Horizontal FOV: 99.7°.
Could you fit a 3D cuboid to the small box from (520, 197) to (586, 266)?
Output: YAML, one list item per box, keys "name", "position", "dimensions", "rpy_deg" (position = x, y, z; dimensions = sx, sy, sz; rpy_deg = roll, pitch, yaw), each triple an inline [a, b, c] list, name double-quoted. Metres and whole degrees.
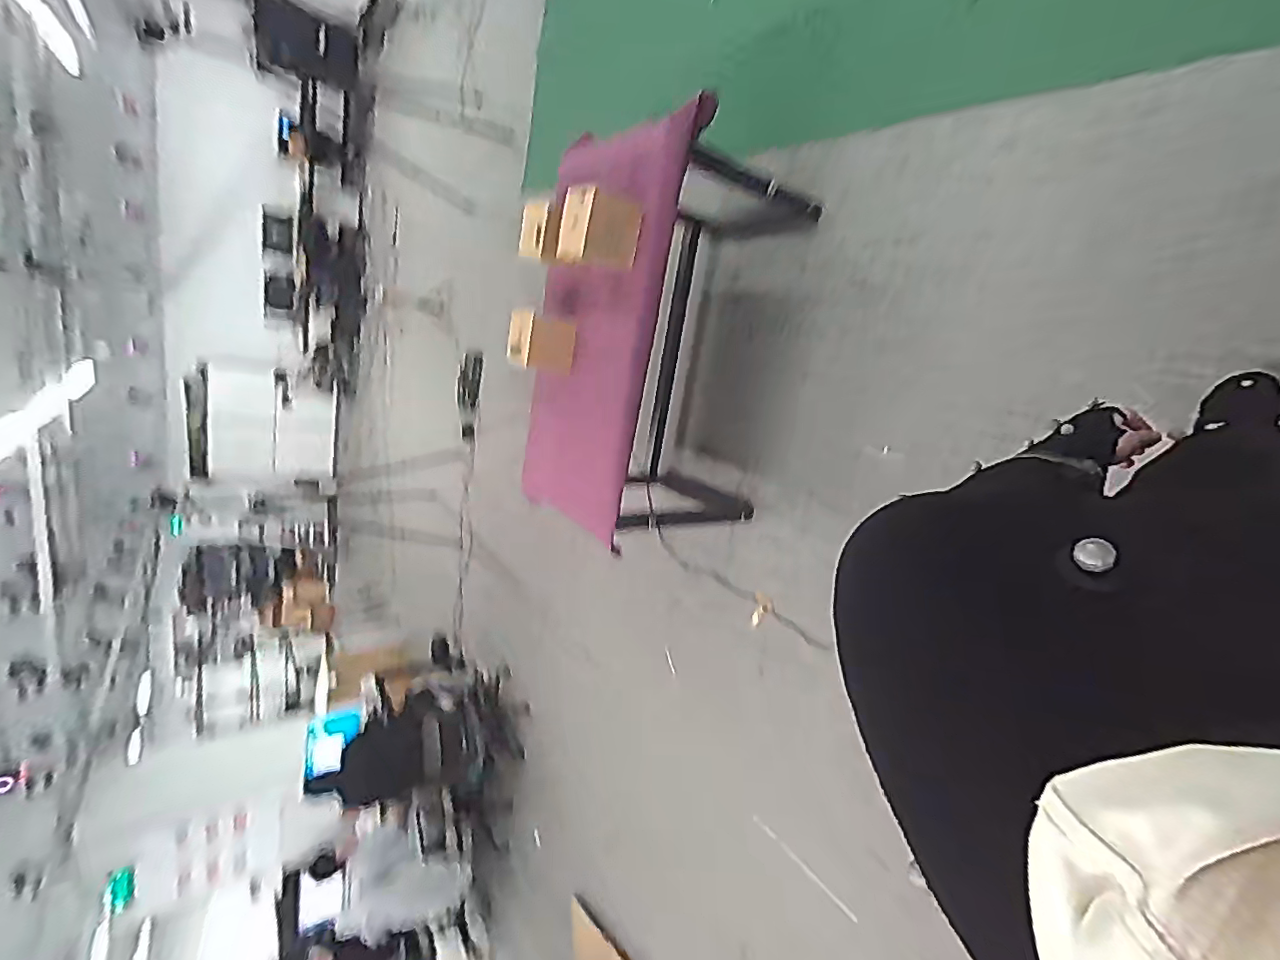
- name: "small box"
  position: [-0.266, -0.803, 1.752]
  dimensions: [0.179, 0.176, 0.168]
  rpy_deg: [35, 117, 47]

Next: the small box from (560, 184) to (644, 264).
- name: "small box"
  position: [-0.107, -0.727, 1.545]
  dimensions: [0.168, 0.176, 0.179]
  rpy_deg: [34, 118, 48]
